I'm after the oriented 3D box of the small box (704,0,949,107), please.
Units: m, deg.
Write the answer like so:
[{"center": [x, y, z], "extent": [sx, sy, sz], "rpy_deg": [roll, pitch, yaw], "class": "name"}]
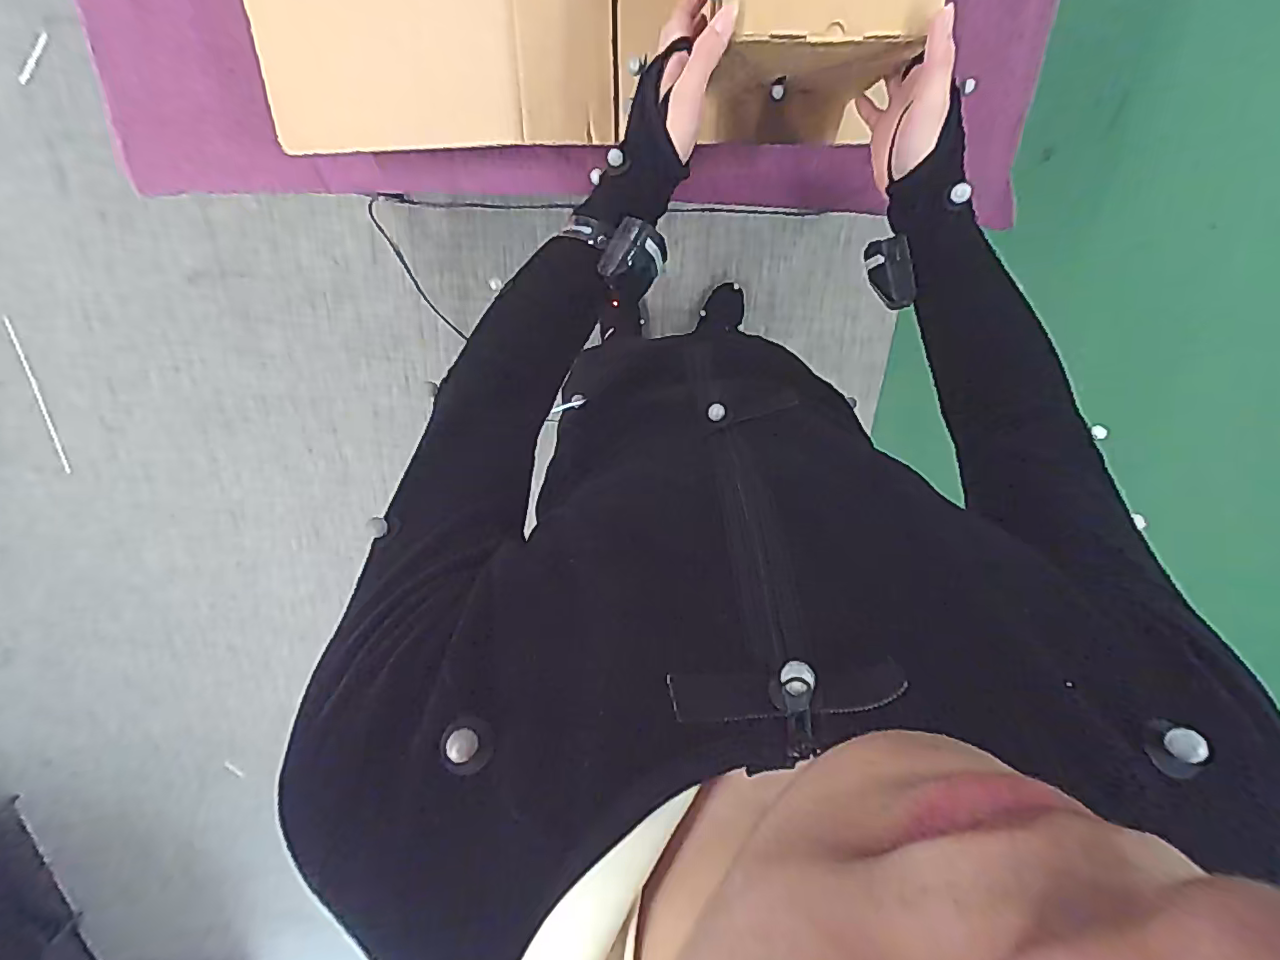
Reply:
[{"center": [0.149, -0.443, 0.460], "extent": [0.168, 0.176, 0.179], "rpy_deg": [-1, 113, -2], "class": "small box"}]
